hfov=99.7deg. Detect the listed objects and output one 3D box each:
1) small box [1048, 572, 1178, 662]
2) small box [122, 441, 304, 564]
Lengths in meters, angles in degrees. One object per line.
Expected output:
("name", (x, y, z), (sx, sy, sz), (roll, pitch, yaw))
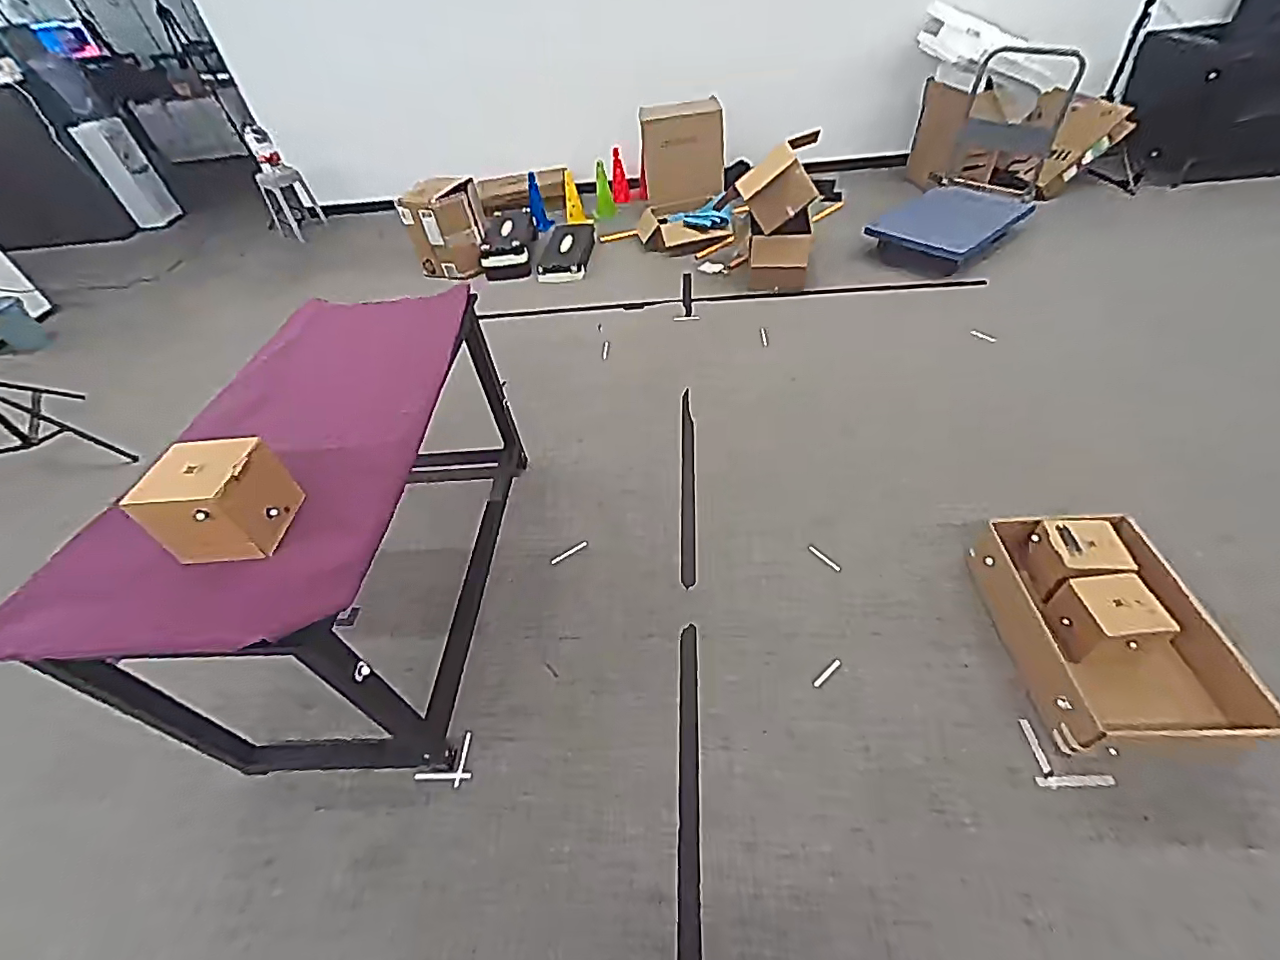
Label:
("small box", (1.216, 0.362, 1.416), (0.179, 0.176, 0.168), (-6, 46, 2))
("small box", (-0.795, 0.047, 1.031), (0.179, 0.176, 0.168), (-4, 44, 2))
